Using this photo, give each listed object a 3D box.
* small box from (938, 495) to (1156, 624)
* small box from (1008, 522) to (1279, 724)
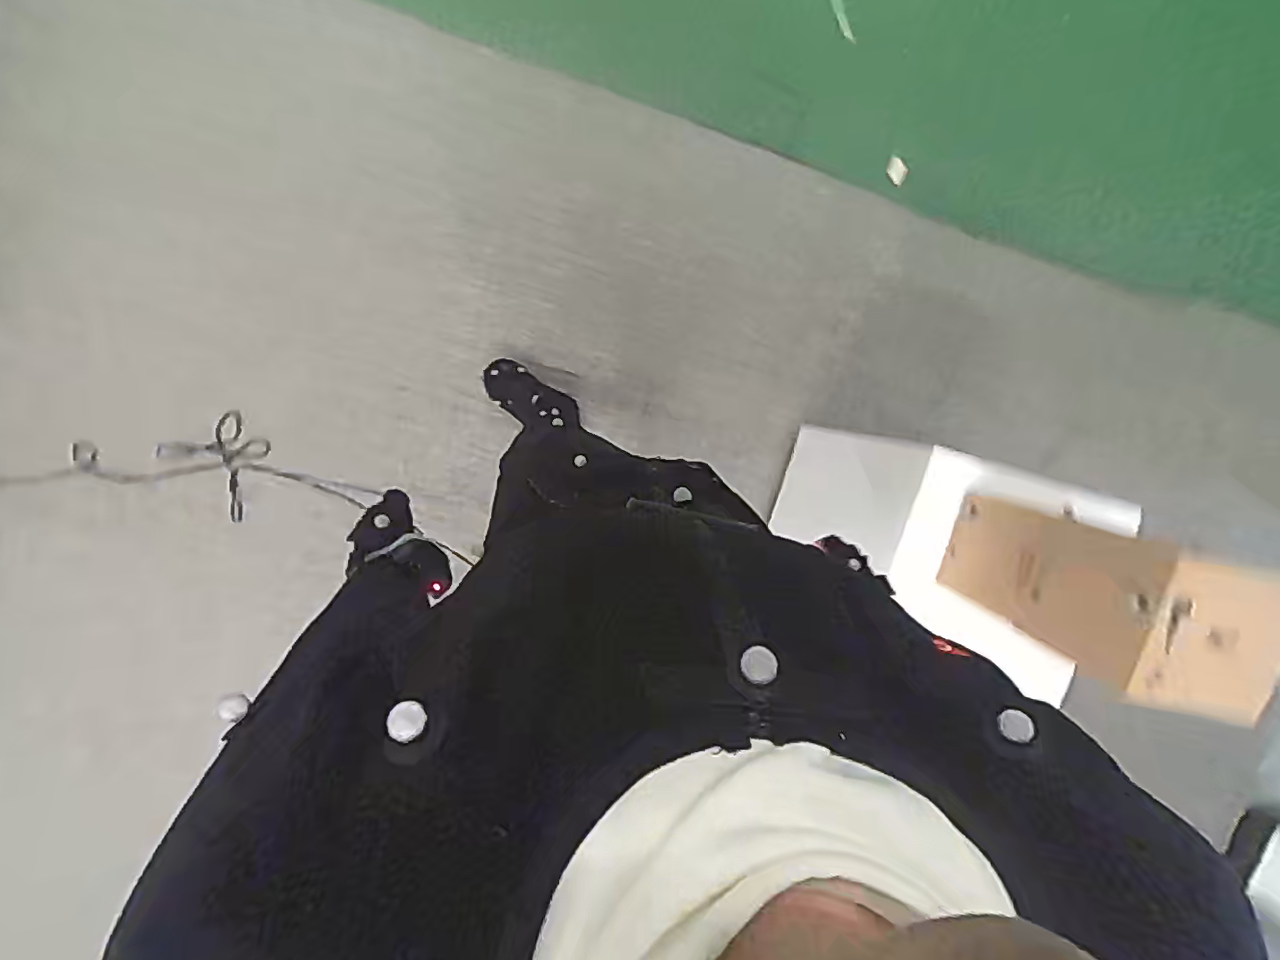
[{"bbox_3d":[0.595,0.129,0.816,0.179,0.176,0.168,14,99,-8],"label":"small box"},{"bbox_3d":[0.607,0.162,0.657,0.179,0.176,0.168,14,99,-8],"label":"small box"}]
